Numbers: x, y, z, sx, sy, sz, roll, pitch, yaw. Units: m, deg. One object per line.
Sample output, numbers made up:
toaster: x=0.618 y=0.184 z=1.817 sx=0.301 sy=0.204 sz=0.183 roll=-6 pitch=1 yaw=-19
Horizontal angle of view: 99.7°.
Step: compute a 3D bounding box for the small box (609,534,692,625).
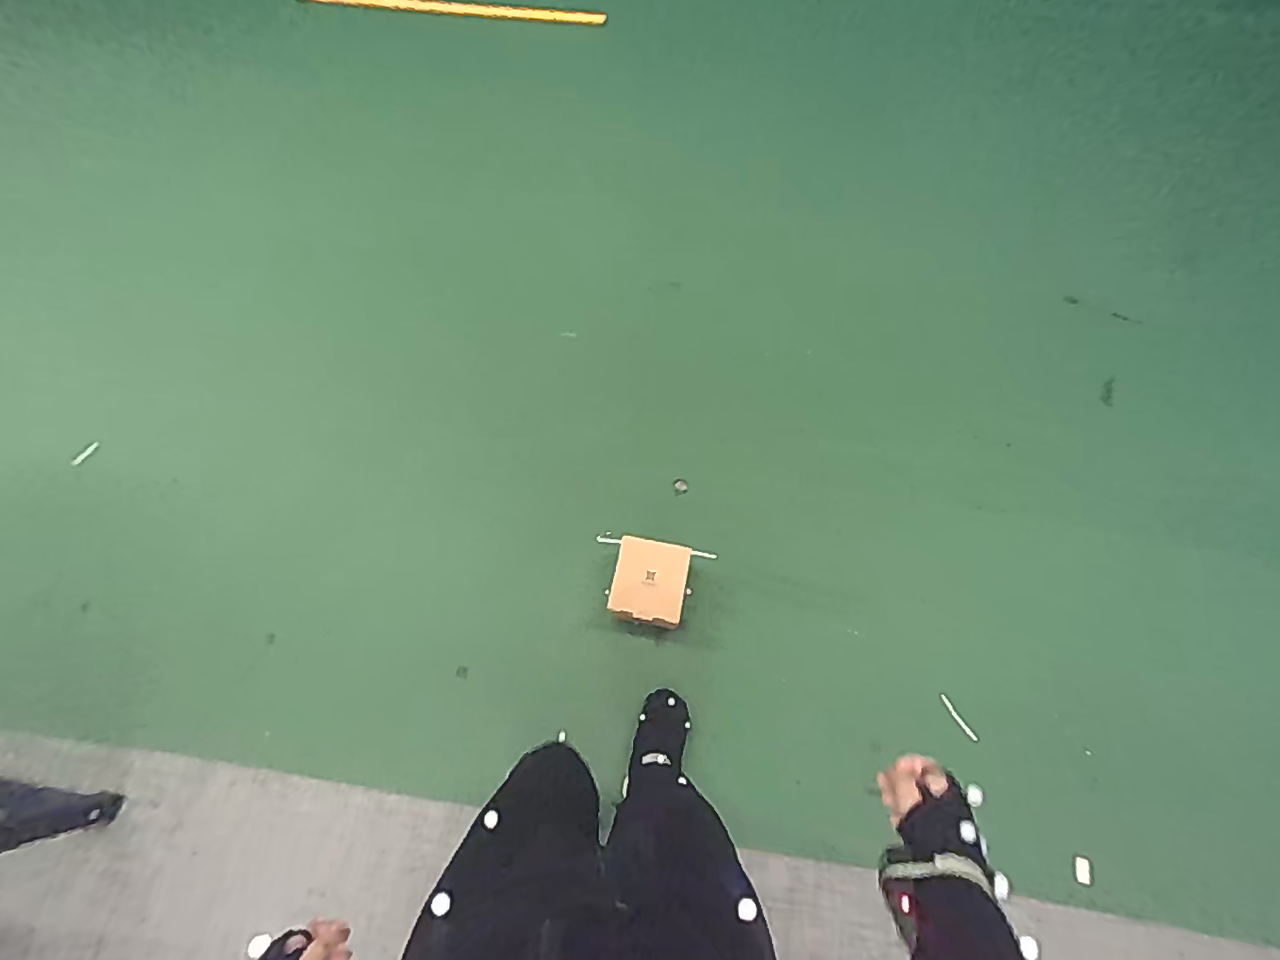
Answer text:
small box: x=0.024 y=0.246 z=1.309 sx=0.168 sy=0.176 sz=0.179 roll=11 pitch=72 yaw=4
